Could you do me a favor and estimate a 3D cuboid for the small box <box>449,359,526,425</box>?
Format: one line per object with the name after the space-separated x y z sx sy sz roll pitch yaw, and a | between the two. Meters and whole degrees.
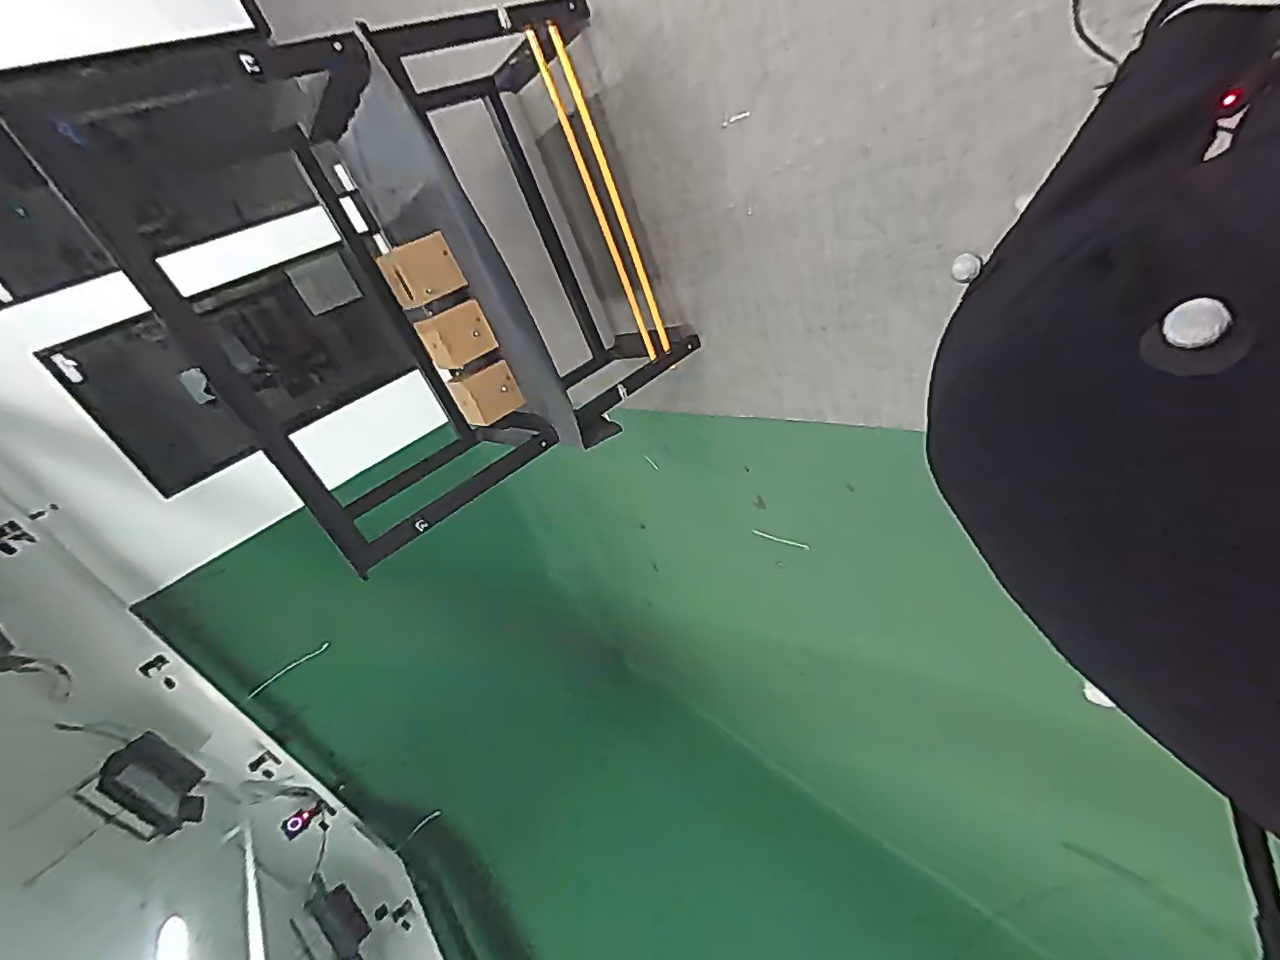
-0.523 -0.306 1.865 0.179 0.176 0.168 12 134 51 | small box
